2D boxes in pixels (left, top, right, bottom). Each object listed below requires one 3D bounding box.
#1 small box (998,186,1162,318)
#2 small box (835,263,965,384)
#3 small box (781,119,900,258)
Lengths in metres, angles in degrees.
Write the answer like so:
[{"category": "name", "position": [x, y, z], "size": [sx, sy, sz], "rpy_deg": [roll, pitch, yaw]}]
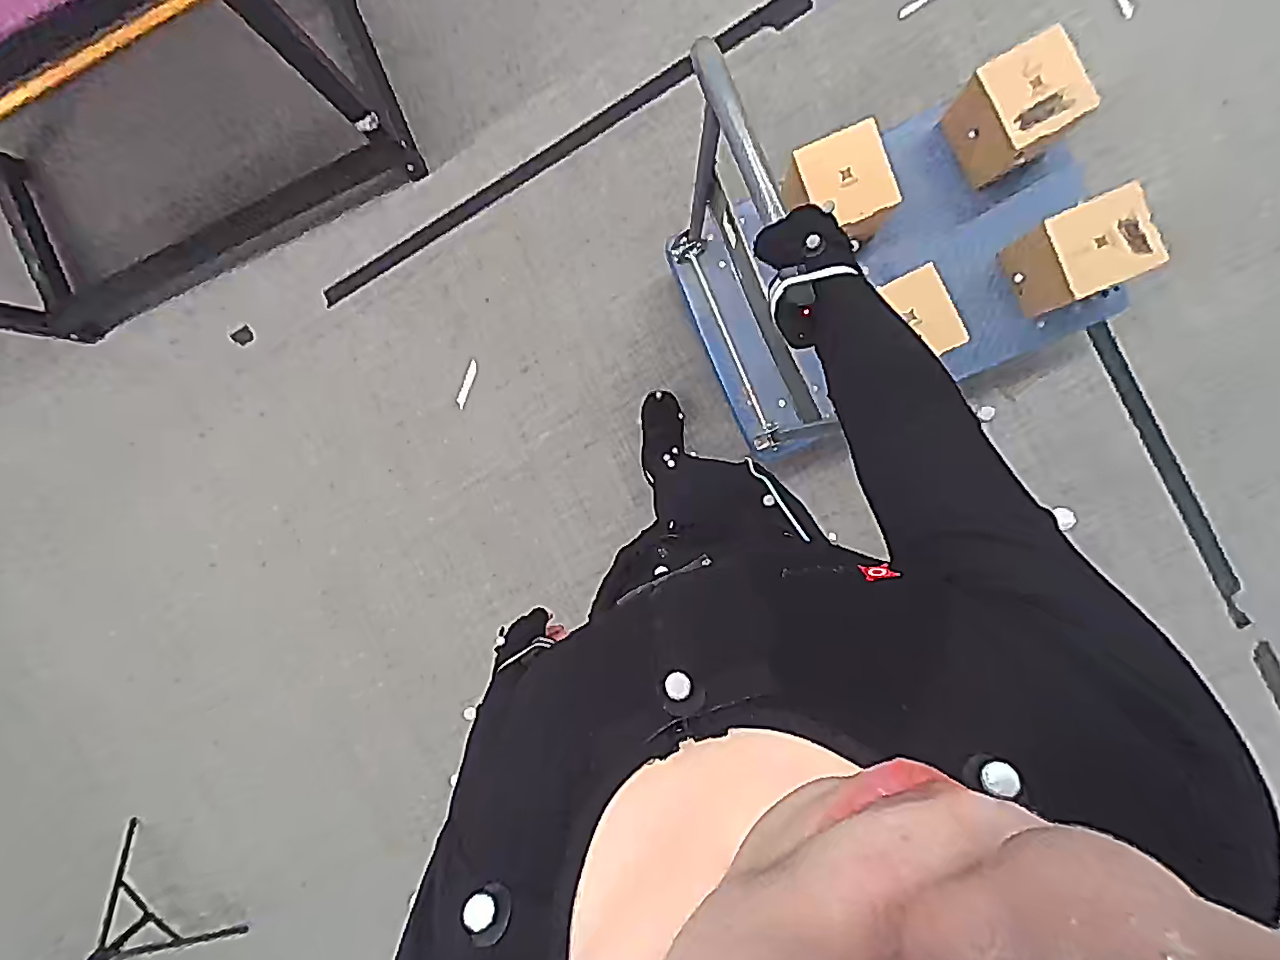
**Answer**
[{"category": "small box", "position": [0.884, -0.454, 1.104], "size": [0.179, 0.176, 0.168], "rpy_deg": [-22, 91, 8]}, {"category": "small box", "position": [0.538, -0.321, 1.147], "size": [0.168, 0.176, 0.179], "rpy_deg": [-25, 90, 7]}, {"category": "small box", "position": [0.413, -0.605, 1.144], "size": [0.168, 0.176, 0.179], "rpy_deg": [-20, 93, 6]}]
